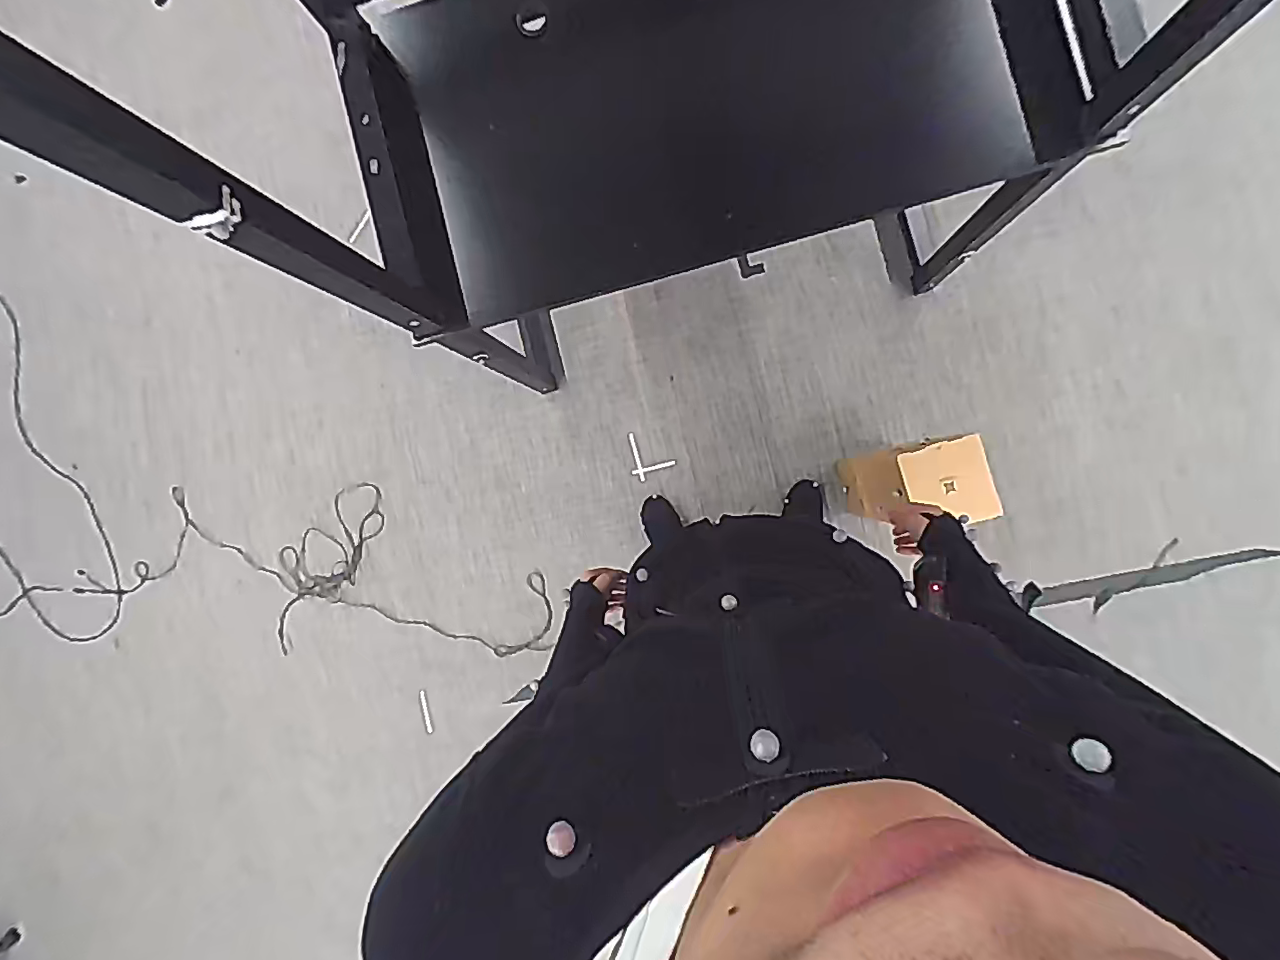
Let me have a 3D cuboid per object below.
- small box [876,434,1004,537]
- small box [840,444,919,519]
[{"bbox_3d":[0.634,0.010,1.163,0.168,0.176,0.179,-17,88,8],"label":"small box"},{"bbox_3d":[0.673,0.002,1.487,0.179,0.176,0.168,-16,88,8],"label":"small box"}]
